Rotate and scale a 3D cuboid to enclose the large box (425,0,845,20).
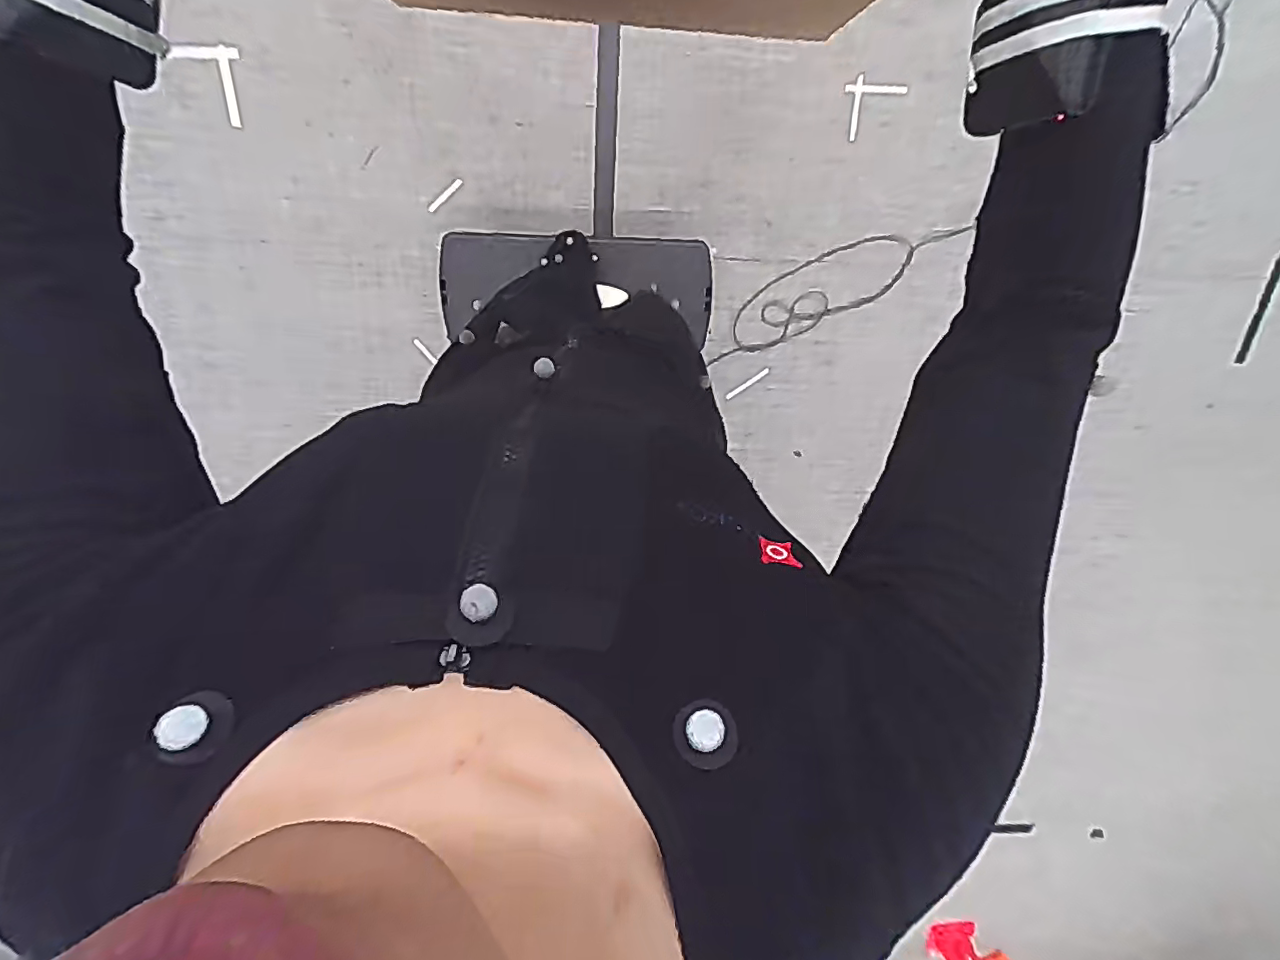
[{"bbox_3d":[-0.013,-0.497,0.296,0.408,0.320,0.320,2,119,-3],"label":"large box"}]
